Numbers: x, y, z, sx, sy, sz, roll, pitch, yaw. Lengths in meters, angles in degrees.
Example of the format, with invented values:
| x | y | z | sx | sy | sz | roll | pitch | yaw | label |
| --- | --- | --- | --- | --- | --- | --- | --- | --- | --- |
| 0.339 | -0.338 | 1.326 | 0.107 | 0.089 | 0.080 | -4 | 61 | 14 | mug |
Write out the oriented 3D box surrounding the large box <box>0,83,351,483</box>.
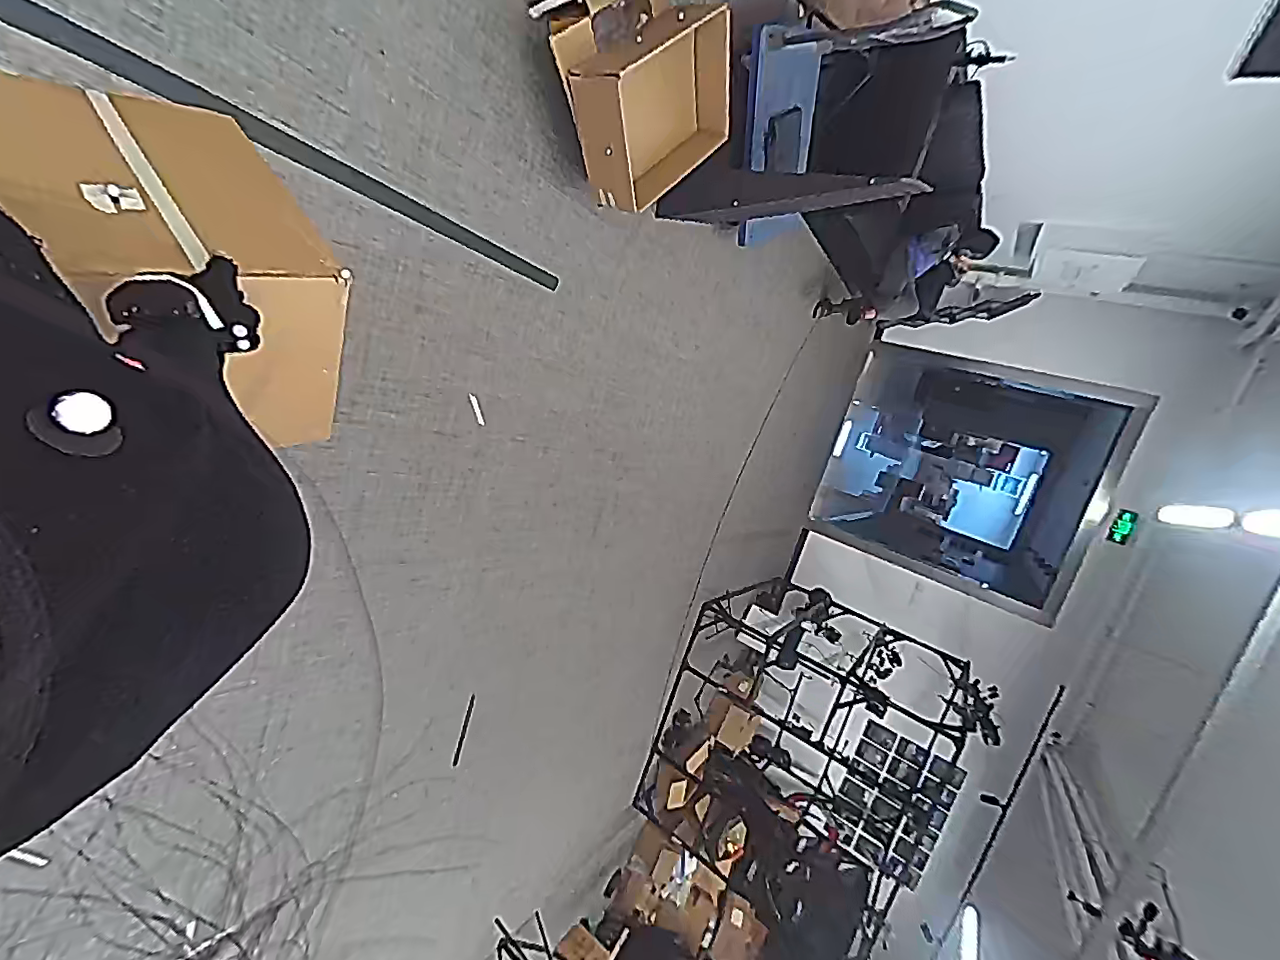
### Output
| x | y | z | sx | sy | sz | roll | pitch | yaw | label |
| --- | --- | --- | --- | --- | --- | --- | --- | --- | --- |
| -0.676 | -0.269 | 0.767 | 0.320 | 0.408 | 0.320 | -23 | 157 | -45 | large box |
